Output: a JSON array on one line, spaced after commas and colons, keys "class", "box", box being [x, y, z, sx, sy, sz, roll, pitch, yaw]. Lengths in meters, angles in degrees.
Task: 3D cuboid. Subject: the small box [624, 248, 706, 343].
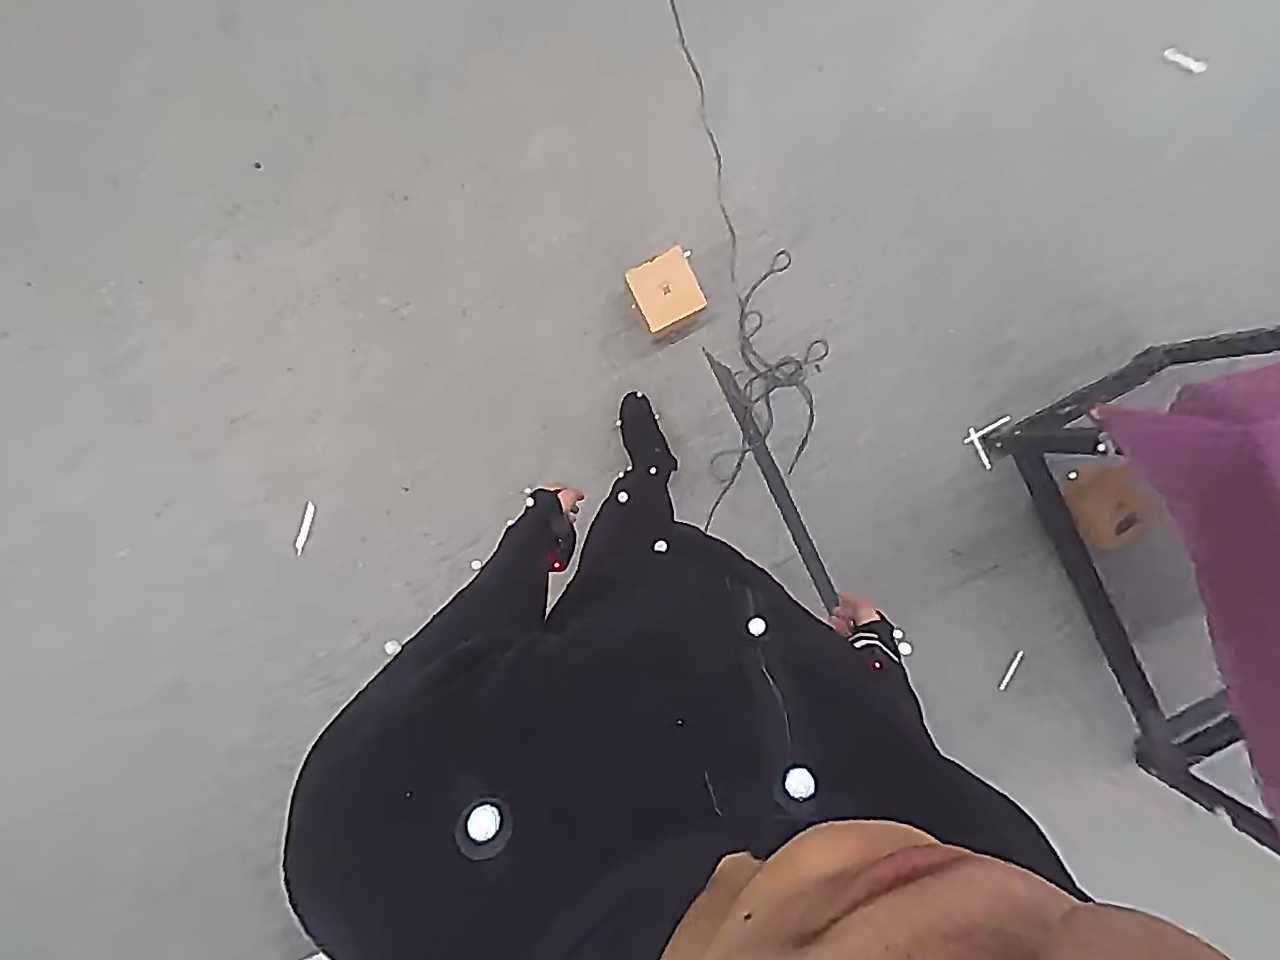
[{"class": "small box", "box": [0.063, -0.503, 1.500, 0.168, 0.176, 0.179, -26, 94, 1]}]
